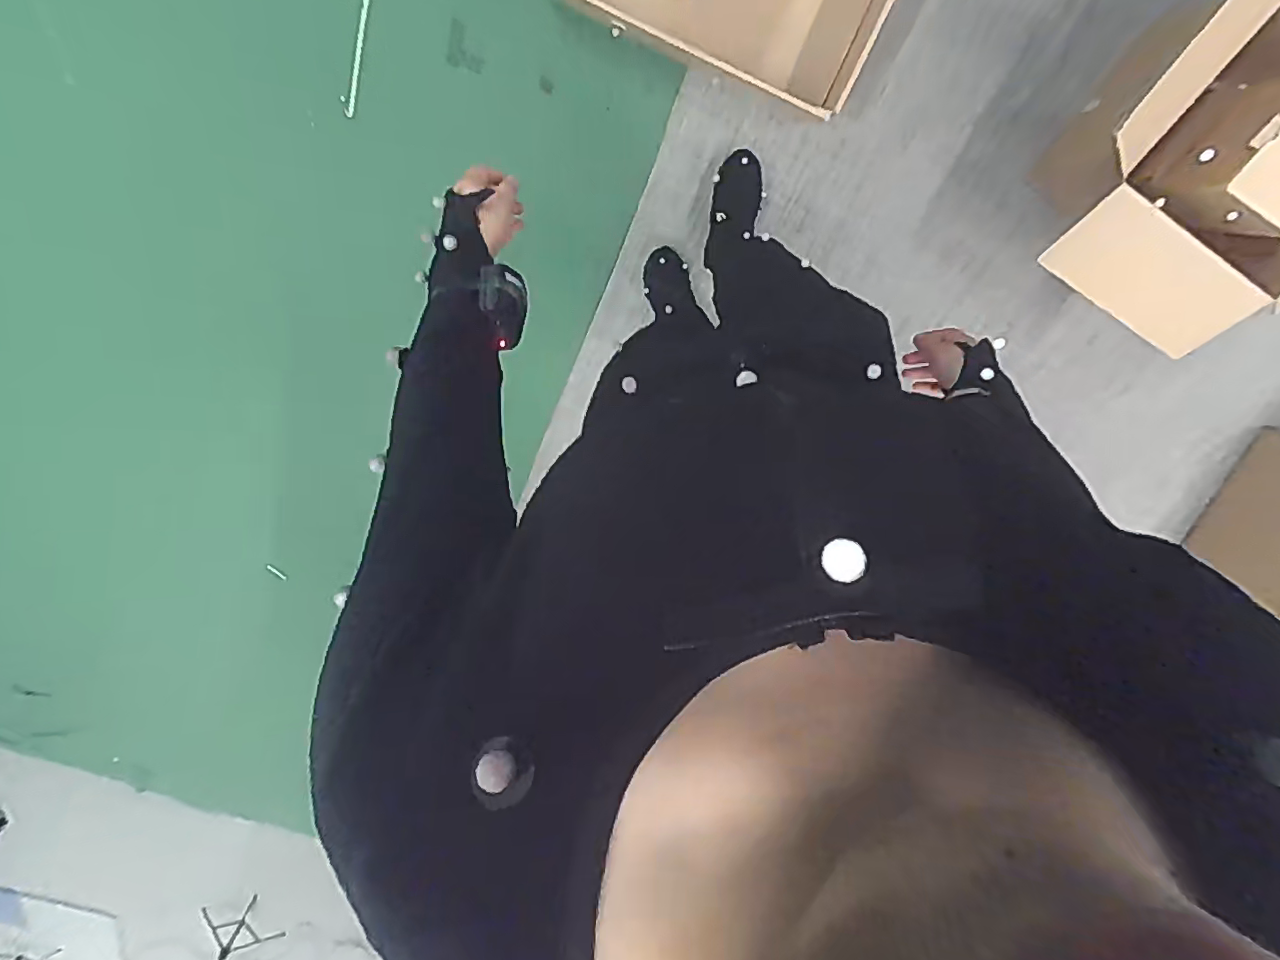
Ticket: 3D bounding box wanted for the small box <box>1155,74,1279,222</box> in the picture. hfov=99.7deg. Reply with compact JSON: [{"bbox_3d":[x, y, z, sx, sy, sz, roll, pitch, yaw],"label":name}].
[{"bbox_3d":[1.063,-0.562,0.924,0.179,0.176,0.168,24,120,-10],"label":"small box"}]
